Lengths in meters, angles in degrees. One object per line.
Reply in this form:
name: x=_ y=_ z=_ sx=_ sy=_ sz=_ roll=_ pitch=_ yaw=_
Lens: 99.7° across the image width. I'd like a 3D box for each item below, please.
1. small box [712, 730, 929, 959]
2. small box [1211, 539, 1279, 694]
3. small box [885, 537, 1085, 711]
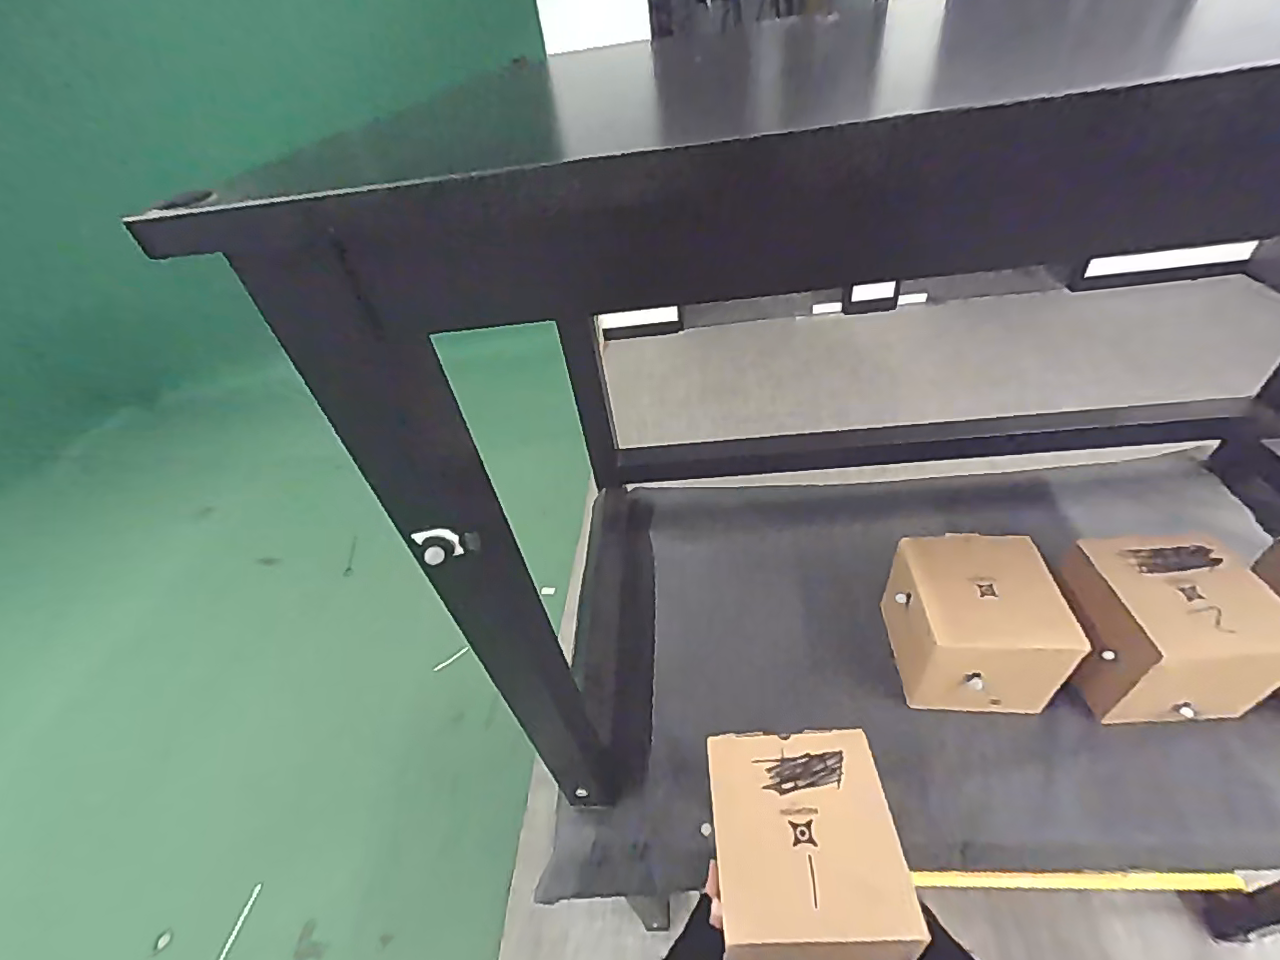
small box: x=0.164 y=0.385 z=0.555 sx=0.168 sy=0.176 sz=0.179 roll=-5 pitch=37 yaw=5
small box: x=0.892 y=0.185 z=0.664 sx=0.168 sy=0.176 sz=0.179 roll=-5 pitch=41 yaw=5
small box: x=0.451 y=0.198 z=0.744 sx=0.168 sy=0.176 sz=0.179 roll=-2 pitch=42 yaw=10
